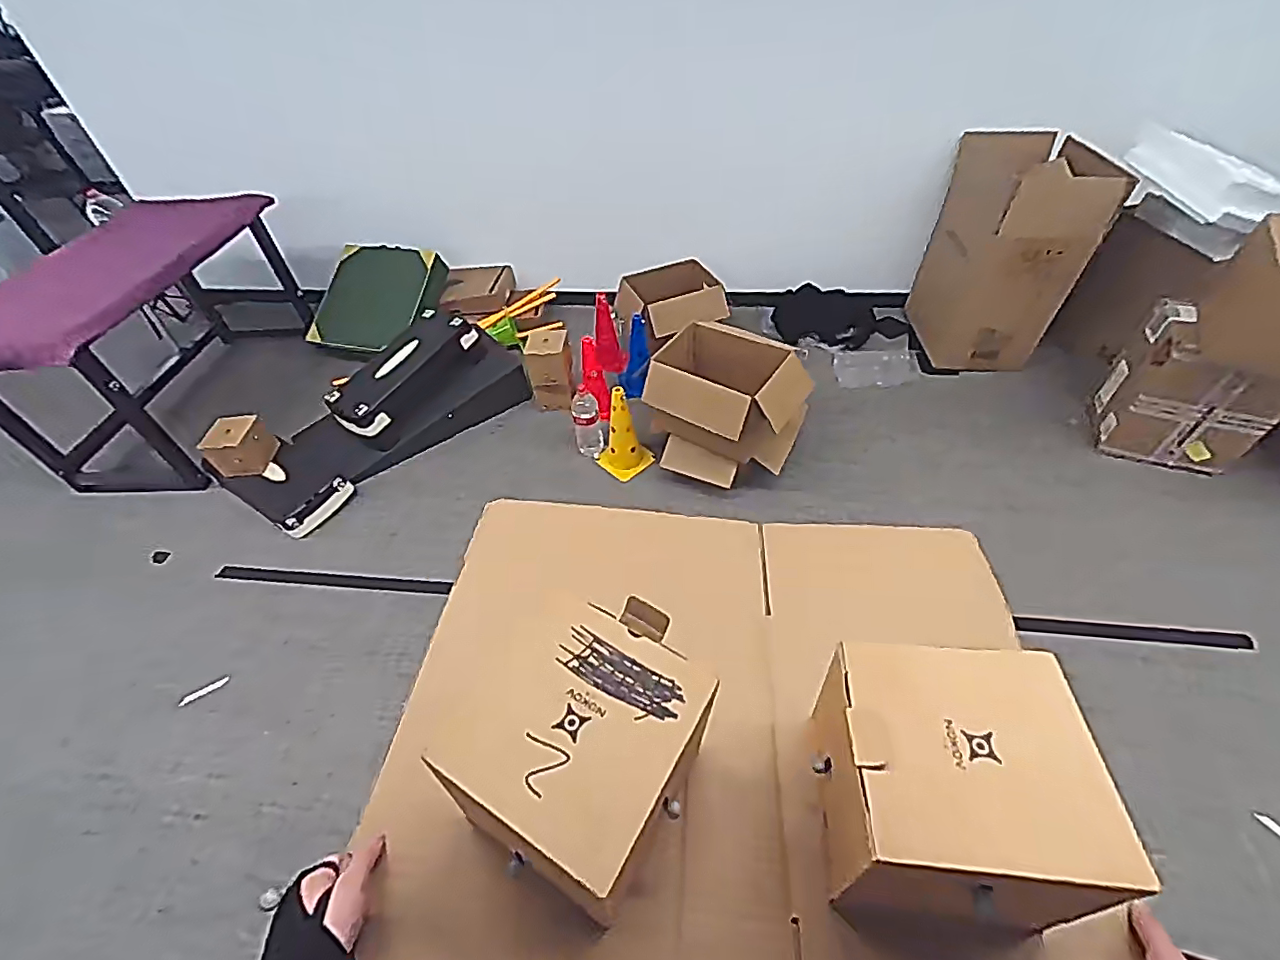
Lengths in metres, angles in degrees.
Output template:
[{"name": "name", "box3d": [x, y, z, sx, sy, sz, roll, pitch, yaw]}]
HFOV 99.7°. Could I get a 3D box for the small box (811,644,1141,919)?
[{"name": "small box", "box3d": [0.261, 0.266, 0.478, 0.179, 0.176, 0.168, 1, 44, 8]}]
